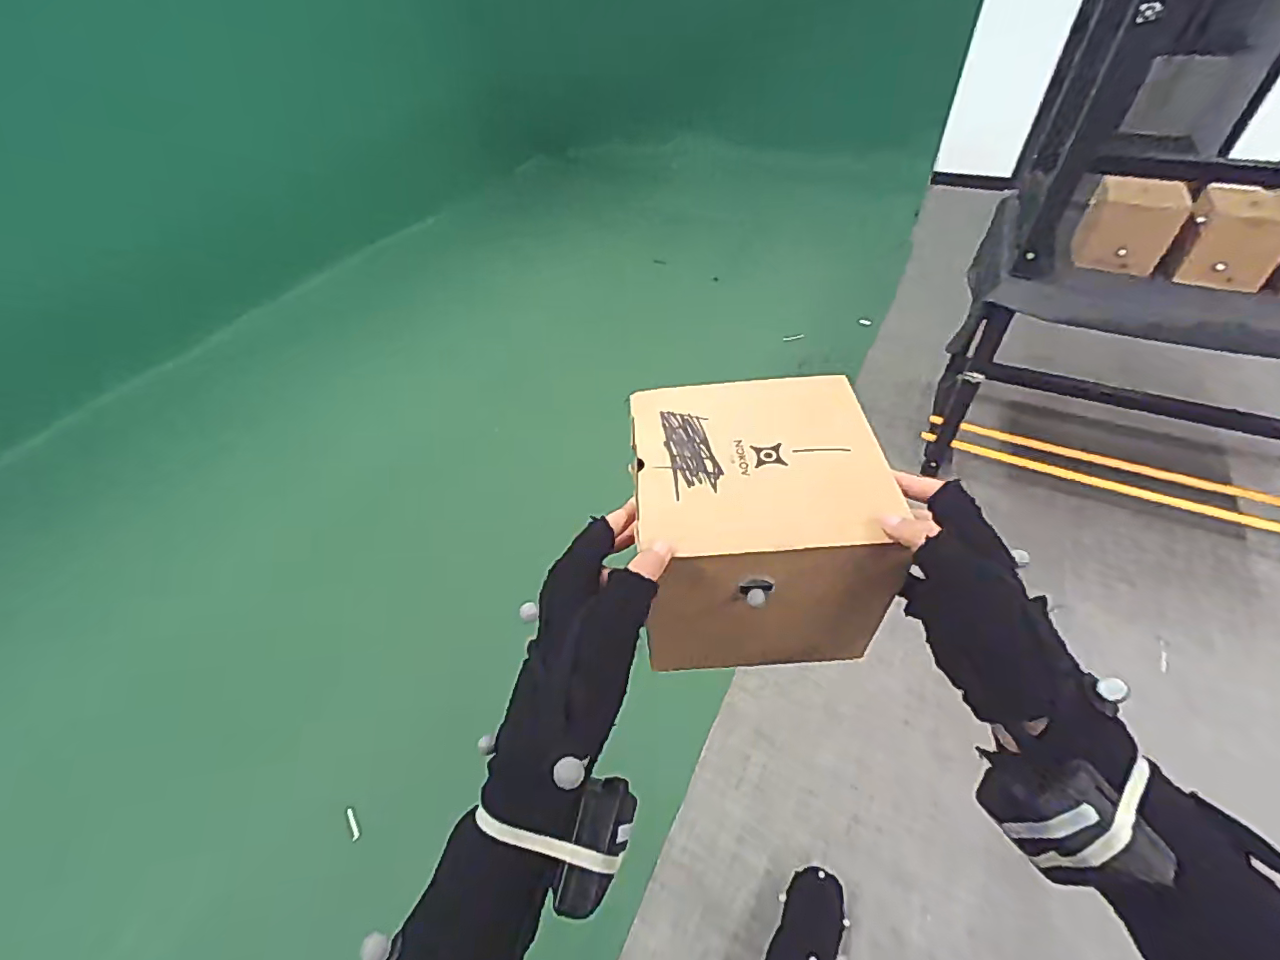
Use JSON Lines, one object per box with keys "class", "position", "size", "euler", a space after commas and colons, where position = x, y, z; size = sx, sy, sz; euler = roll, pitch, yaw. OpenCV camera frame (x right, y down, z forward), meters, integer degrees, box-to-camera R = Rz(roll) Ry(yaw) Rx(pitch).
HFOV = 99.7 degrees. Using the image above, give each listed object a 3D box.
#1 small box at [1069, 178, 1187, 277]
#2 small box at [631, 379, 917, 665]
{"class": "small box", "position": [1.231, -0.647, 1.382], "size": [0.168, 0.176, 0.179], "euler": [18, 51, 20]}
{"class": "small box", "position": [0.088, 0.039, 0.443], "size": [0.179, 0.176, 0.168], "euler": [-4, 47, 1]}
